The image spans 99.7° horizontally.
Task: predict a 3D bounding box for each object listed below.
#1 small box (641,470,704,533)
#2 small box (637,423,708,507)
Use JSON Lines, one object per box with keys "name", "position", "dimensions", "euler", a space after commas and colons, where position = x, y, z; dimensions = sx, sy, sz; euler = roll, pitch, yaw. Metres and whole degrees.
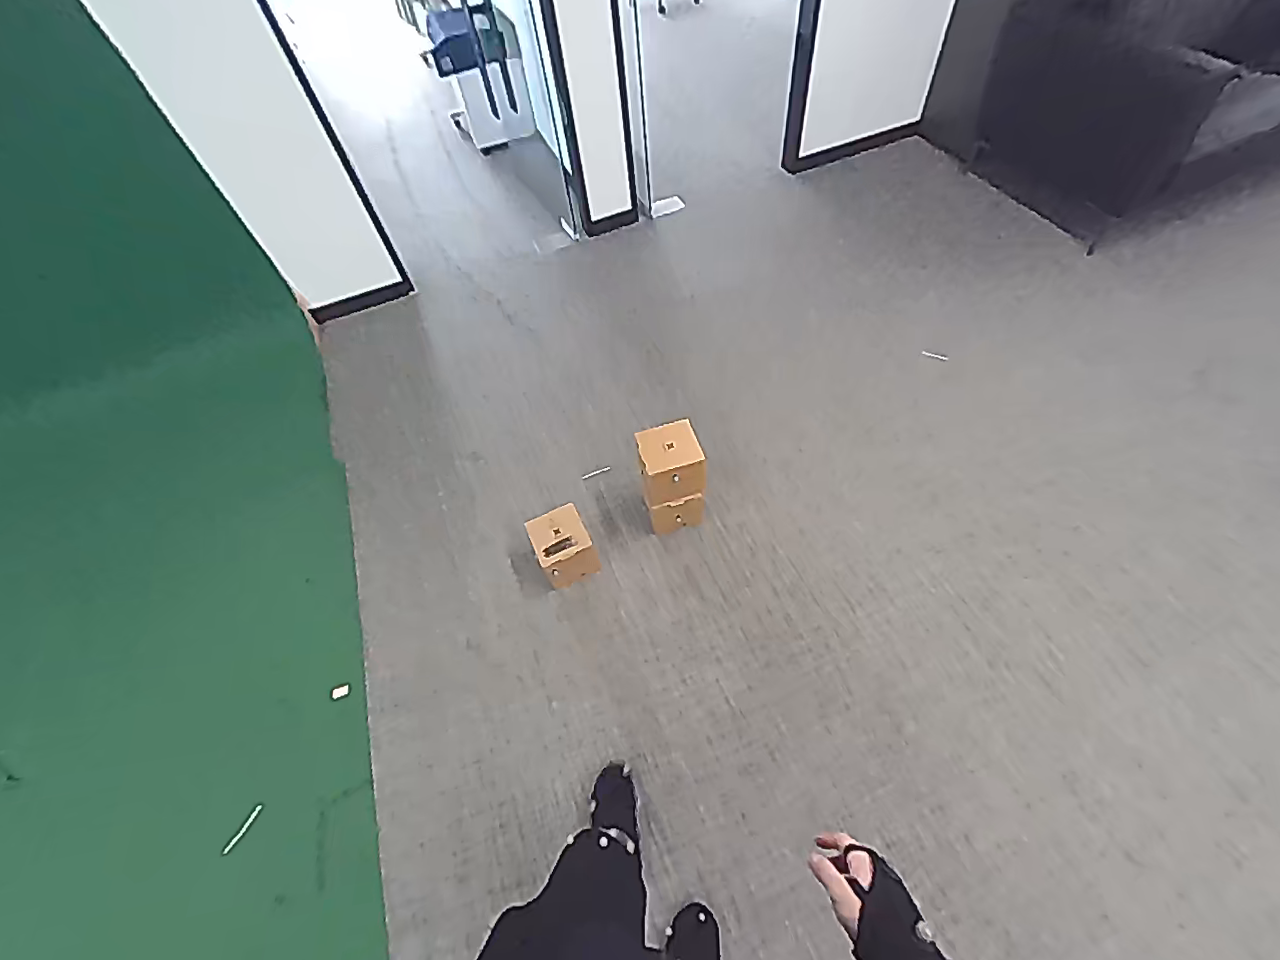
{"name": "small box", "position": [0.109, 0.060, 1.781], "dimensions": [0.168, 0.176, 0.179], "euler": [-14, 56, -4]}
{"name": "small box", "position": [0.100, -0.041, 1.653], "dimensions": [0.179, 0.176, 0.168], "euler": [-17, 55, -4]}
